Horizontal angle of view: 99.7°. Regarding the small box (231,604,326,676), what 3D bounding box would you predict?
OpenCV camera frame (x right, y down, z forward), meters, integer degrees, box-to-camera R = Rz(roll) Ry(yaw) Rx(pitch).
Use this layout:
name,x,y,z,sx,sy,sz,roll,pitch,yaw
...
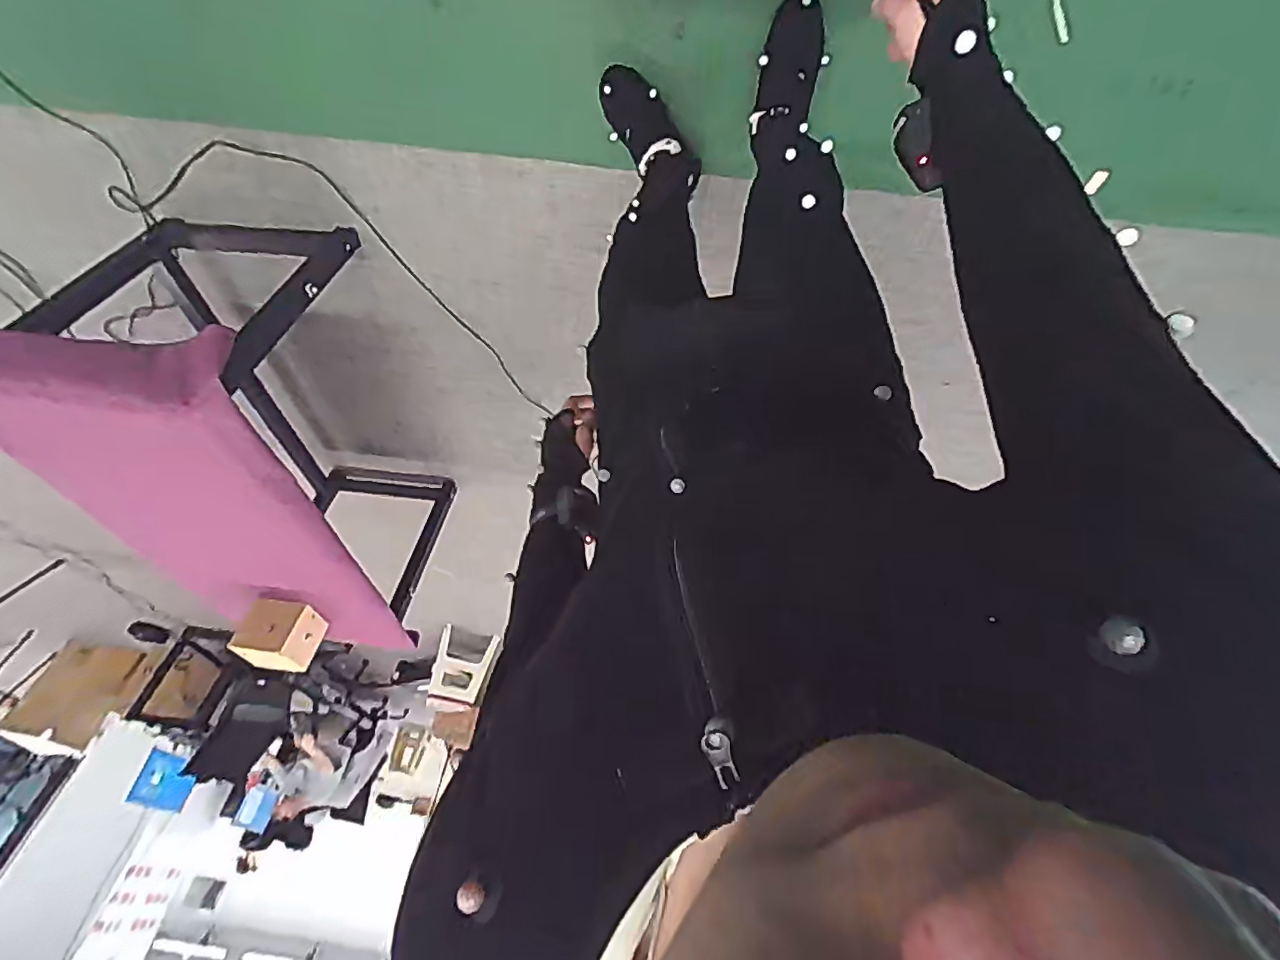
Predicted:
name,x,y,z,sx,sy,sz,roll,pitch,yaw
small box,-1.151,0.516,1.747,0.179,0.176,0.168,5,140,4
